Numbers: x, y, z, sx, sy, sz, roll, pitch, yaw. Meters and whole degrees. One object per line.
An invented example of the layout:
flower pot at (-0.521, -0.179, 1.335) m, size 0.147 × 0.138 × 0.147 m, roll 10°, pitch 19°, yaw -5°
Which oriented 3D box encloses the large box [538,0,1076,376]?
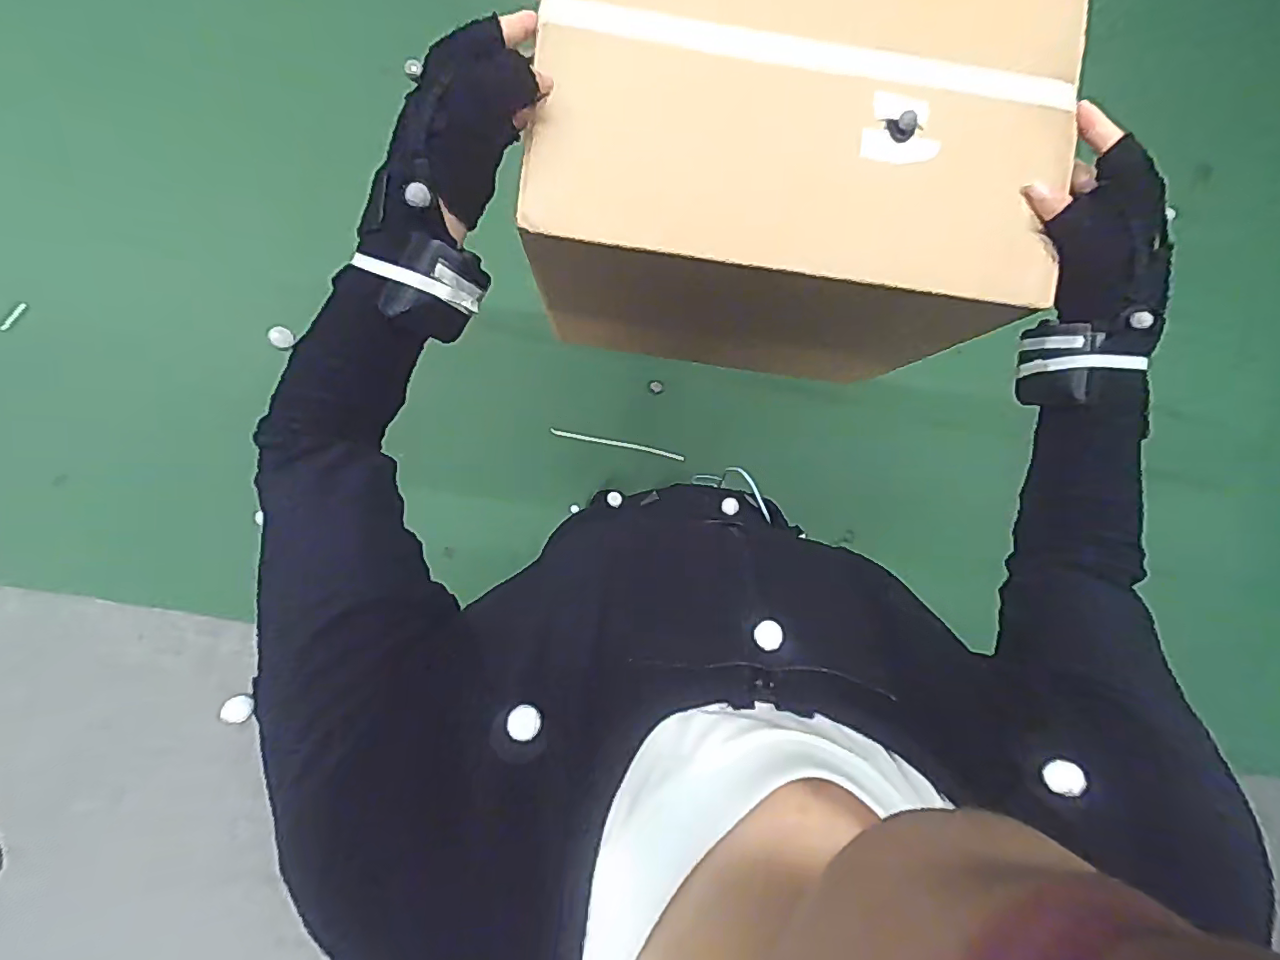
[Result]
large box at (0.124, -0.310, 0.559) m, size 0.408 × 0.320 × 0.320 m, roll 7°, pitch 89°, yaw -4°
